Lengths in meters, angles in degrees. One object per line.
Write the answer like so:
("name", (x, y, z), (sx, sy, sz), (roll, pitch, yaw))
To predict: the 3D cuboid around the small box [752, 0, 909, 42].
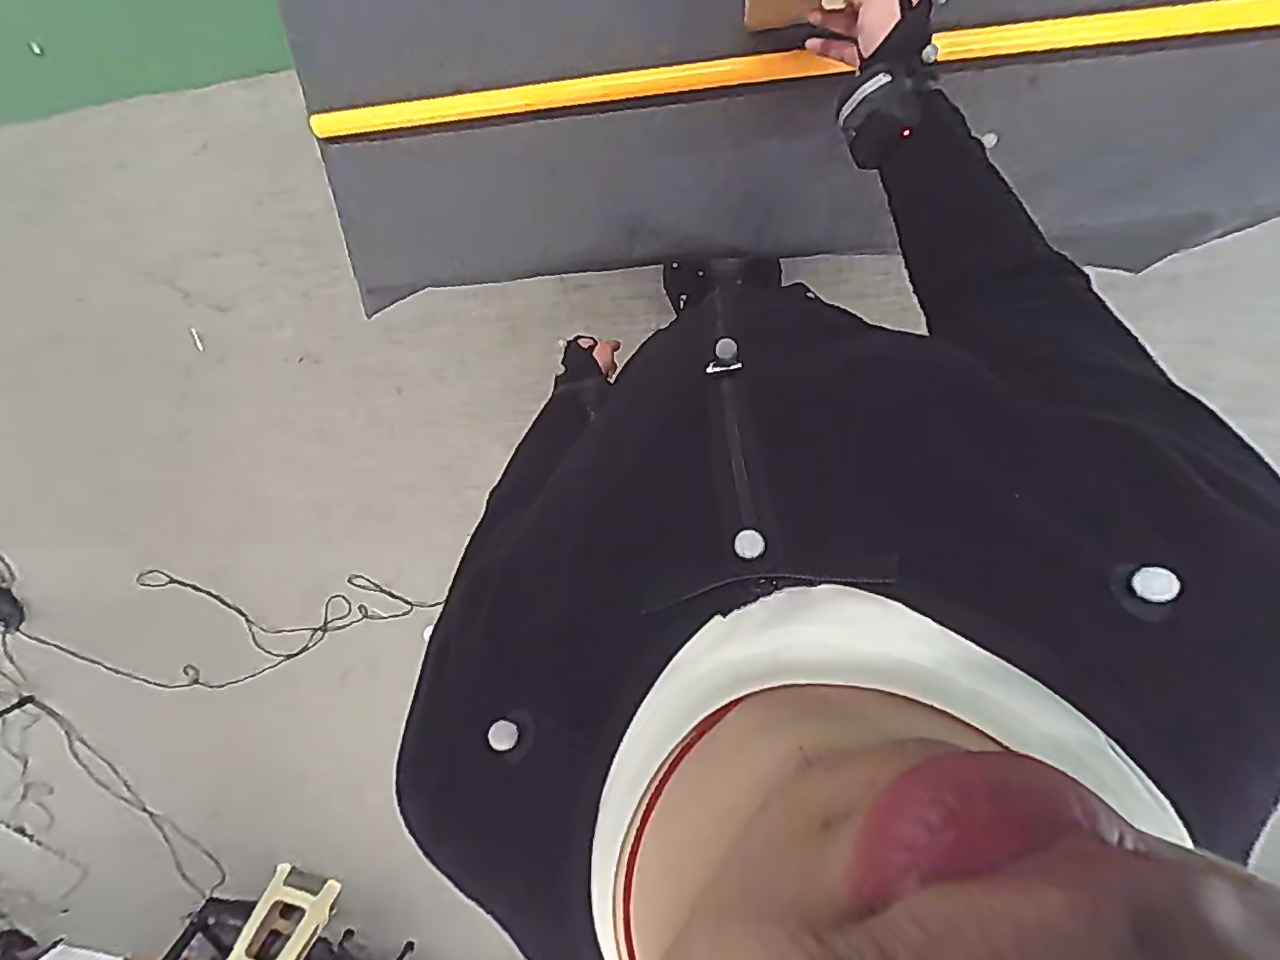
("small box", (0.191, -0.561, 0.521), (0.168, 0.176, 0.179), (-5, 111, 12))
